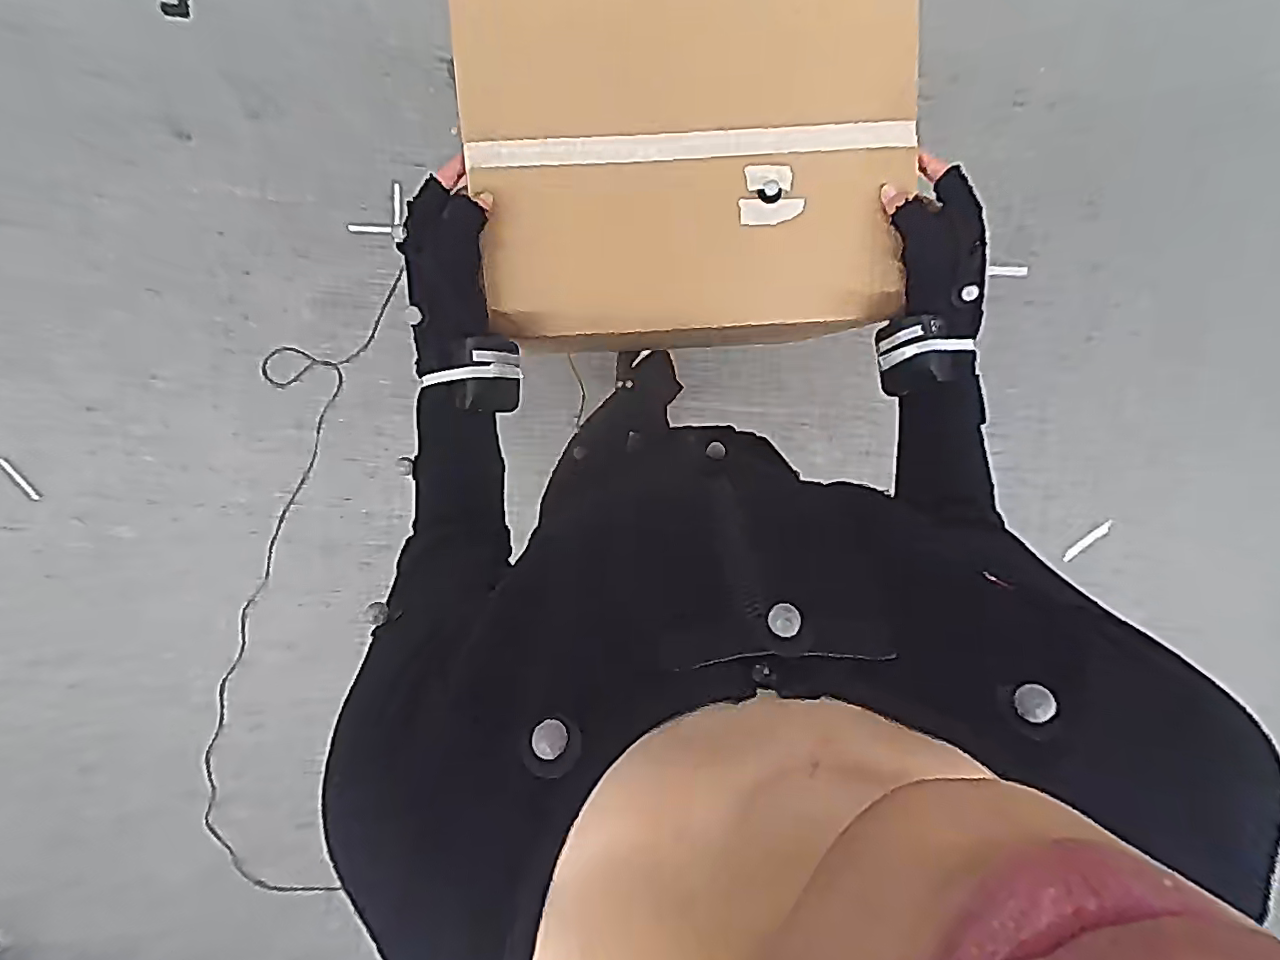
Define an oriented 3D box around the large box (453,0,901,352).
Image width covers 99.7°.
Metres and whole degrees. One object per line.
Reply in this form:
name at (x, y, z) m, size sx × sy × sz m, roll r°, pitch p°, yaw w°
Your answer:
large box at (0.035, -0.334, 0.643) m, size 0.408 × 0.320 × 0.320 m, roll -4°, pitch 100°, yaw -2°
